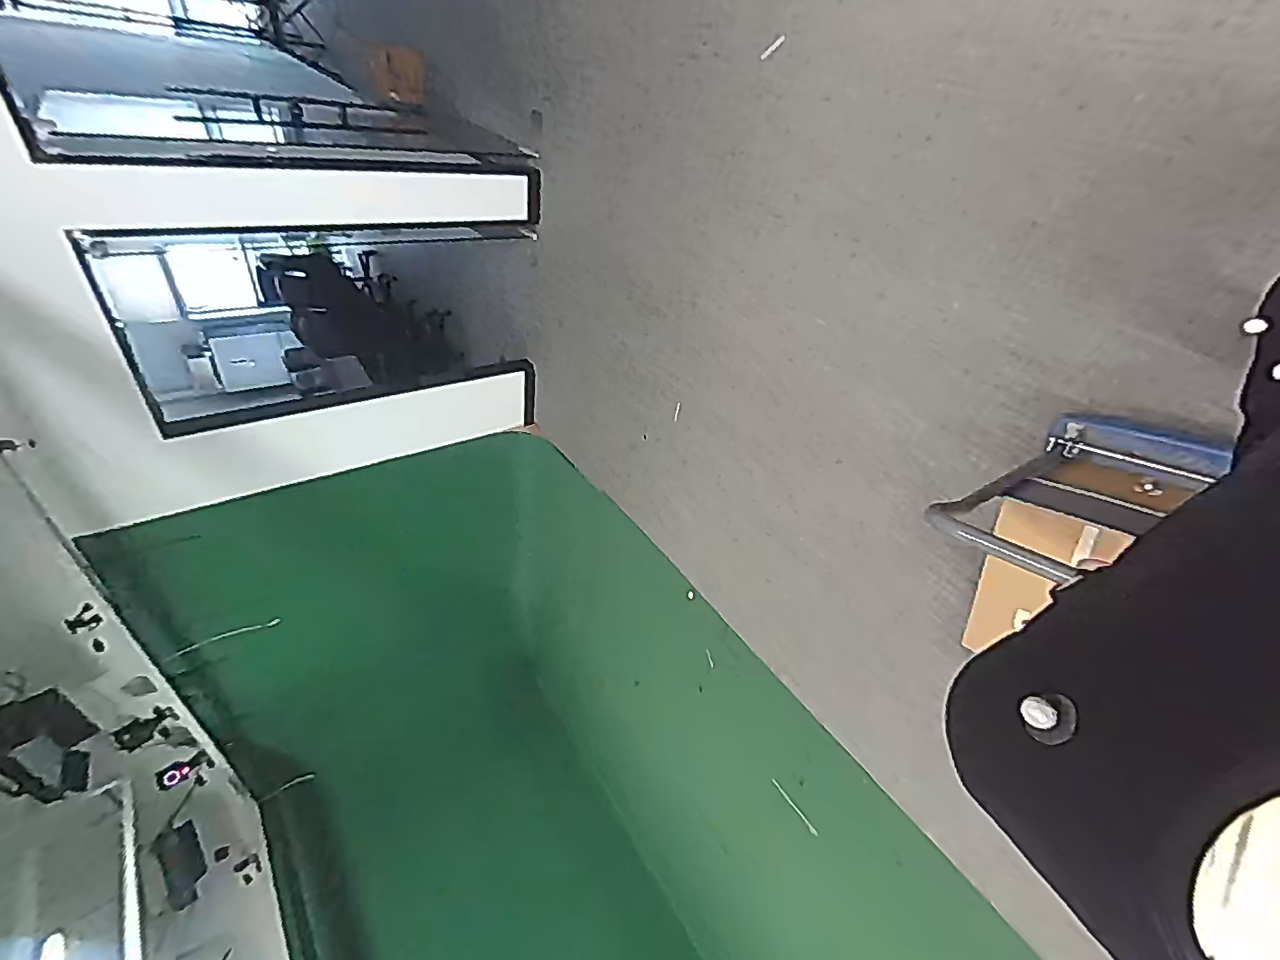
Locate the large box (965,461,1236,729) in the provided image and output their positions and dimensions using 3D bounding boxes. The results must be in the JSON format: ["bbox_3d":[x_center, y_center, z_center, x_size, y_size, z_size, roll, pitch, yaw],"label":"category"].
[{"bbox_3d":[0.962,0.216,1.156,0.320,0.320,0.408,28,128,47],"label":"large box"}]
